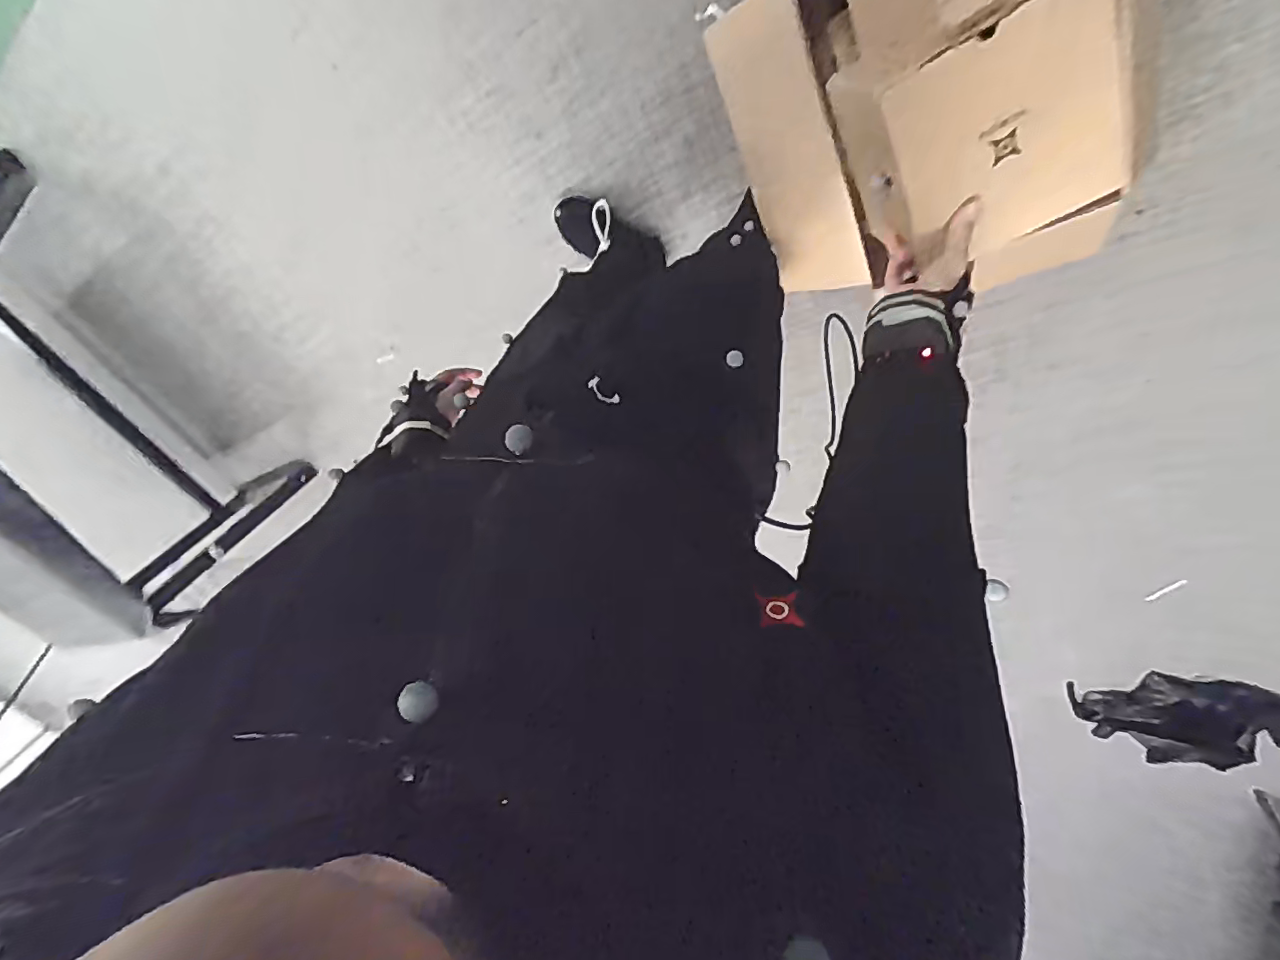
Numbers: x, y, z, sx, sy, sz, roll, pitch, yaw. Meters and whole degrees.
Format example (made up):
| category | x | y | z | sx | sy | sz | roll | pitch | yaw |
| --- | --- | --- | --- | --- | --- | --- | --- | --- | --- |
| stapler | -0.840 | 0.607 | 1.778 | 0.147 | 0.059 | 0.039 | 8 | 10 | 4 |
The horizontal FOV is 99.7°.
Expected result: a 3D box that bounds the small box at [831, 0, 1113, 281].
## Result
| category | x | y | z | sx | sy | sz | roll | pitch | yaw |
| --- | --- | --- | --- | --- | --- | --- | --- | --- | --- |
| small box | 0.304 | -0.330 | 0.517 | 0.168 | 0.176 | 0.179 | -24 | 123 | 18 |
